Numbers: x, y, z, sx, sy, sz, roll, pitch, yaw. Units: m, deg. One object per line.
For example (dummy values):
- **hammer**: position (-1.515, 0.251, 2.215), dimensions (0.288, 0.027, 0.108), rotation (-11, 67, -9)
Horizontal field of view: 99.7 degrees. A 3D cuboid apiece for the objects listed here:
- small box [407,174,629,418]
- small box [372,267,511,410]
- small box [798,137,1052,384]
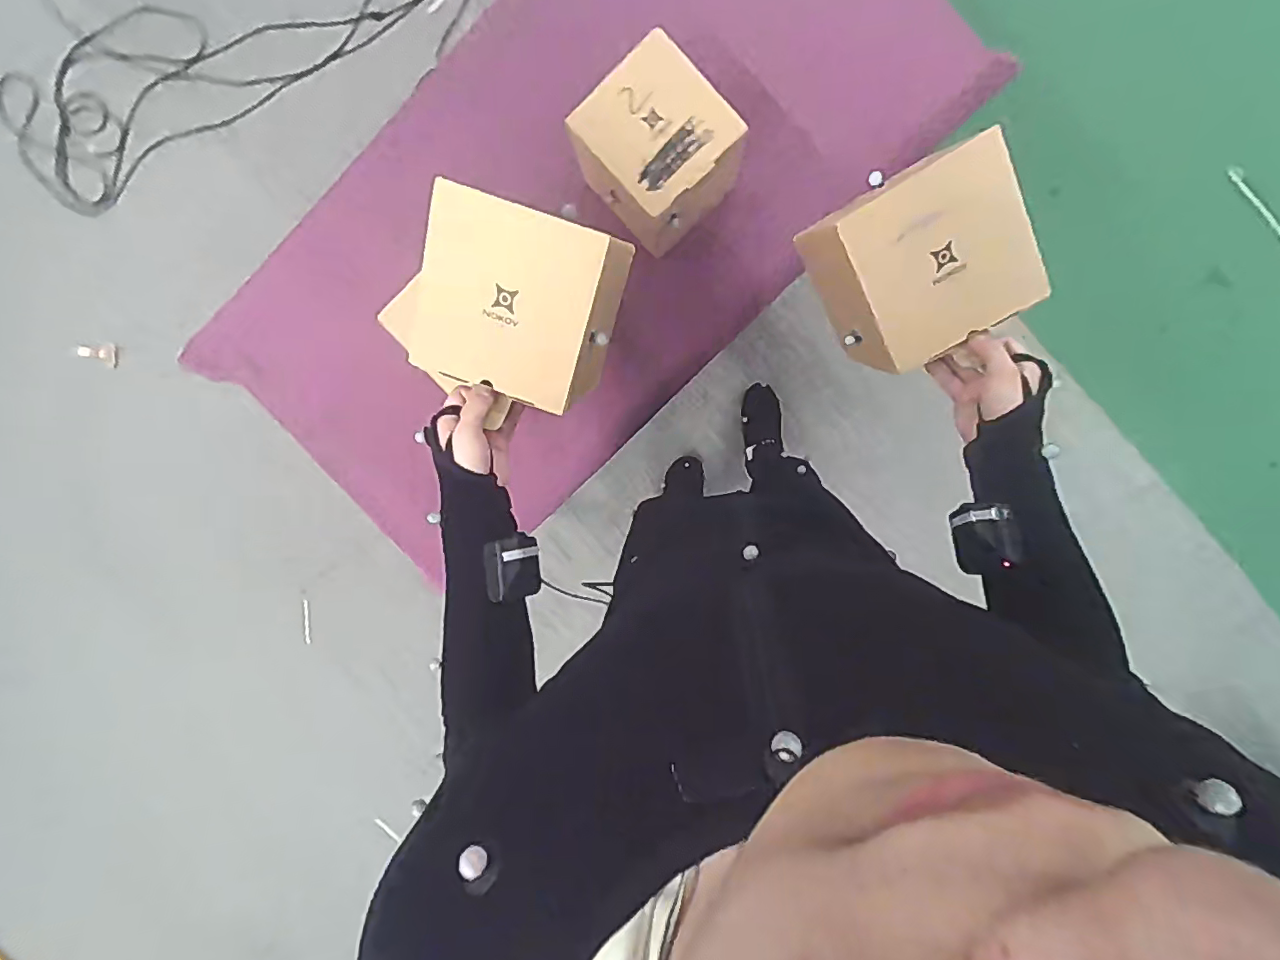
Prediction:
- **small box**: position (-0.116, -0.192, 0.571), dimensions (0.168, 0.176, 0.179), rotation (20, 113, -1)
- **small box**: position (-0.241, -0.216, 0.798), dimensions (0.168, 0.176, 0.179), rotation (-43, 93, 6)
- **small box**: position (0.301, -0.234, 0.603), dimensions (0.168, 0.176, 0.179), rotation (-28, 107, 10)
